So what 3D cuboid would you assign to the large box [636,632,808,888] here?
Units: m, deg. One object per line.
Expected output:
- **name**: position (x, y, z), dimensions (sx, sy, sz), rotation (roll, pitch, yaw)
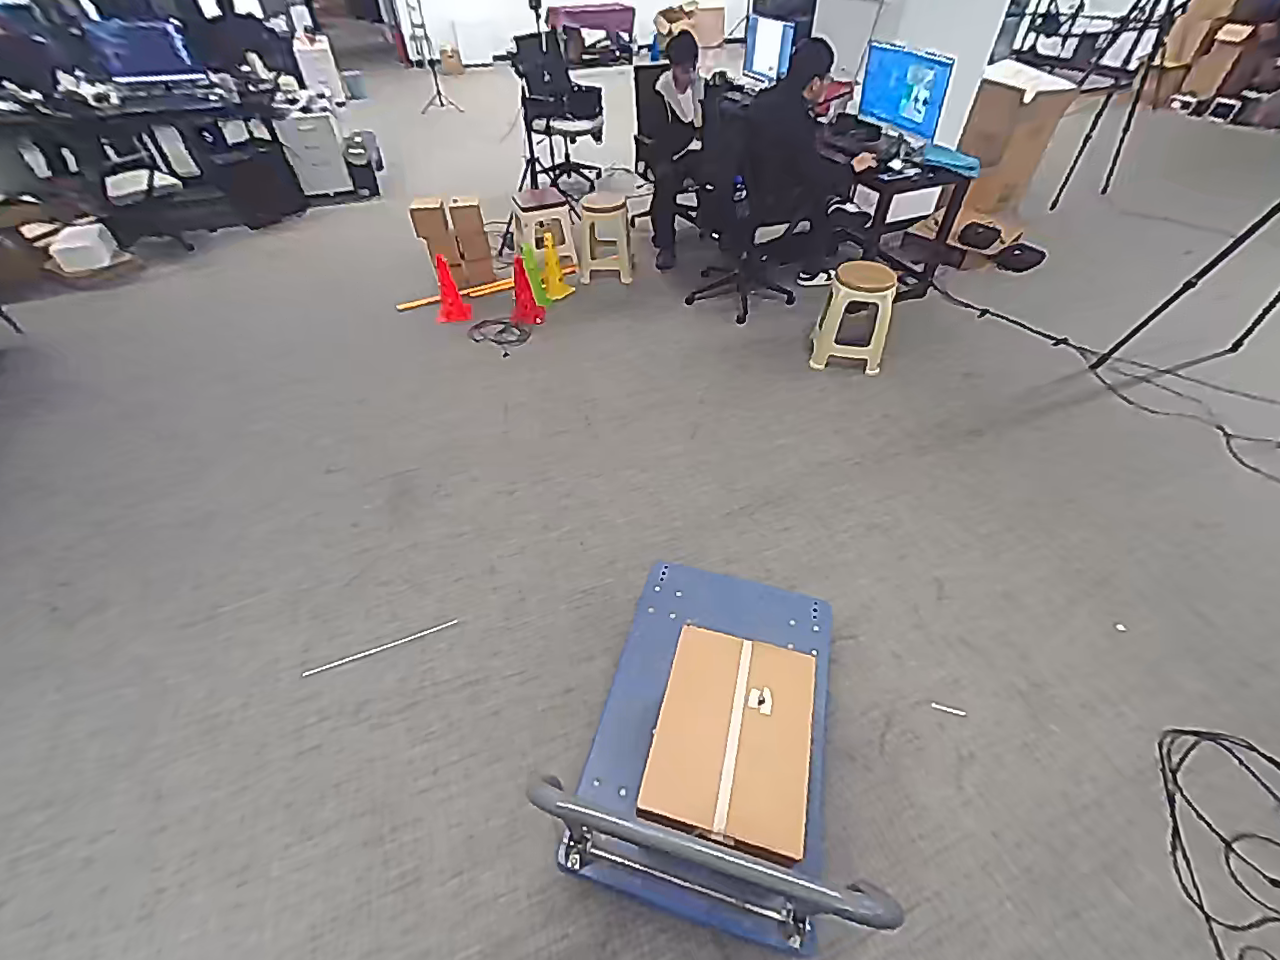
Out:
- **large box**: position (0.190, 0.634, 1.246), dimensions (0.320, 0.320, 0.408), rotation (12, 46, 11)
